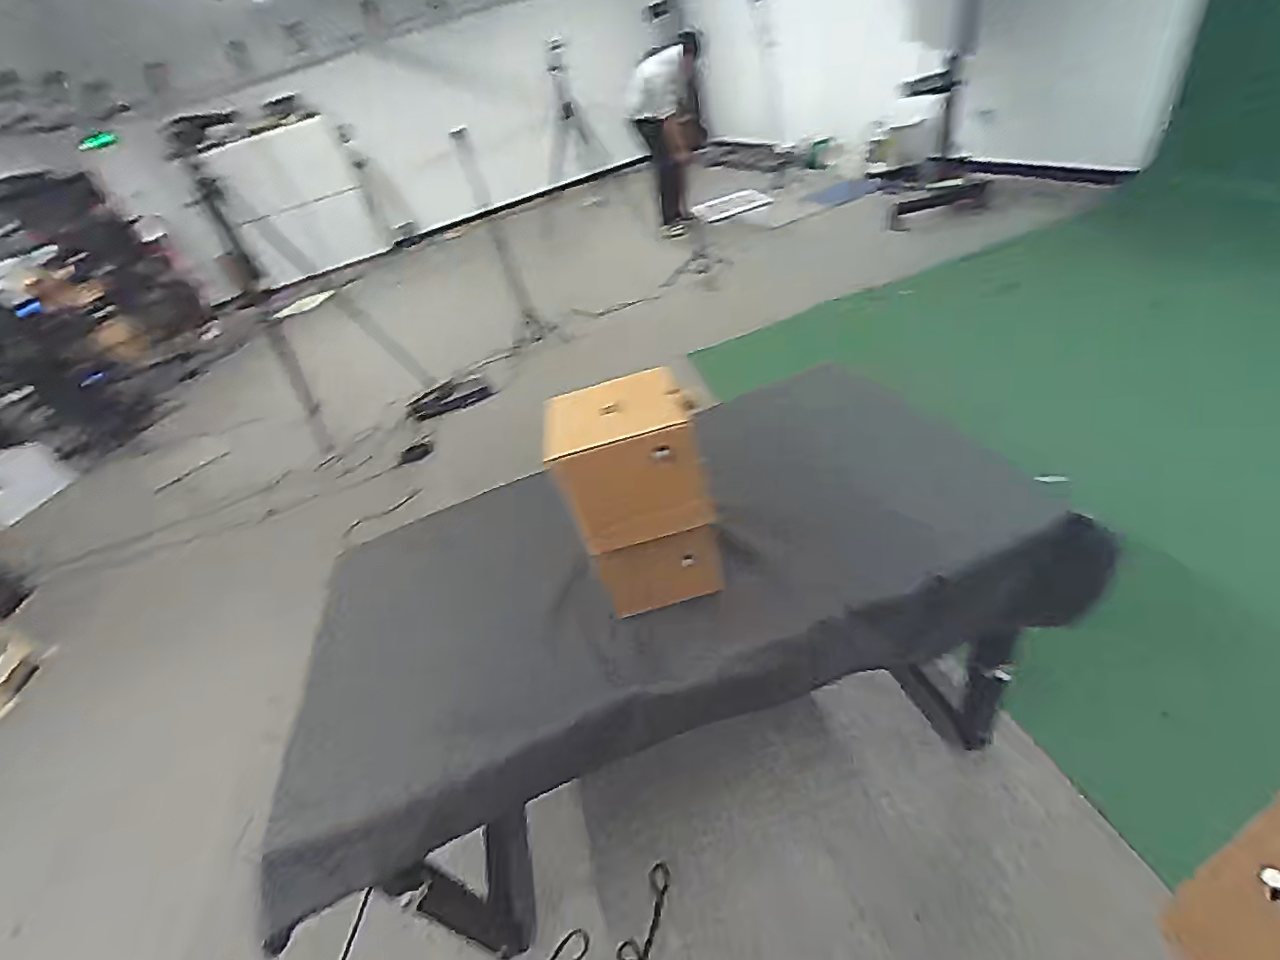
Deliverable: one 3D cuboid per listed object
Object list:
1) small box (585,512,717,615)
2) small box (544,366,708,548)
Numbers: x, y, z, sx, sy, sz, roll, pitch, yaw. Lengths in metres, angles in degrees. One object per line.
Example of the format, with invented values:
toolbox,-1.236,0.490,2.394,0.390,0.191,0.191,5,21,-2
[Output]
small box,0.016,0.084,0.860,0.179,0.176,0.168,-18,36,2
small box,-0.019,-0.030,0.747,0.179,0.176,0.168,-16,36,2
